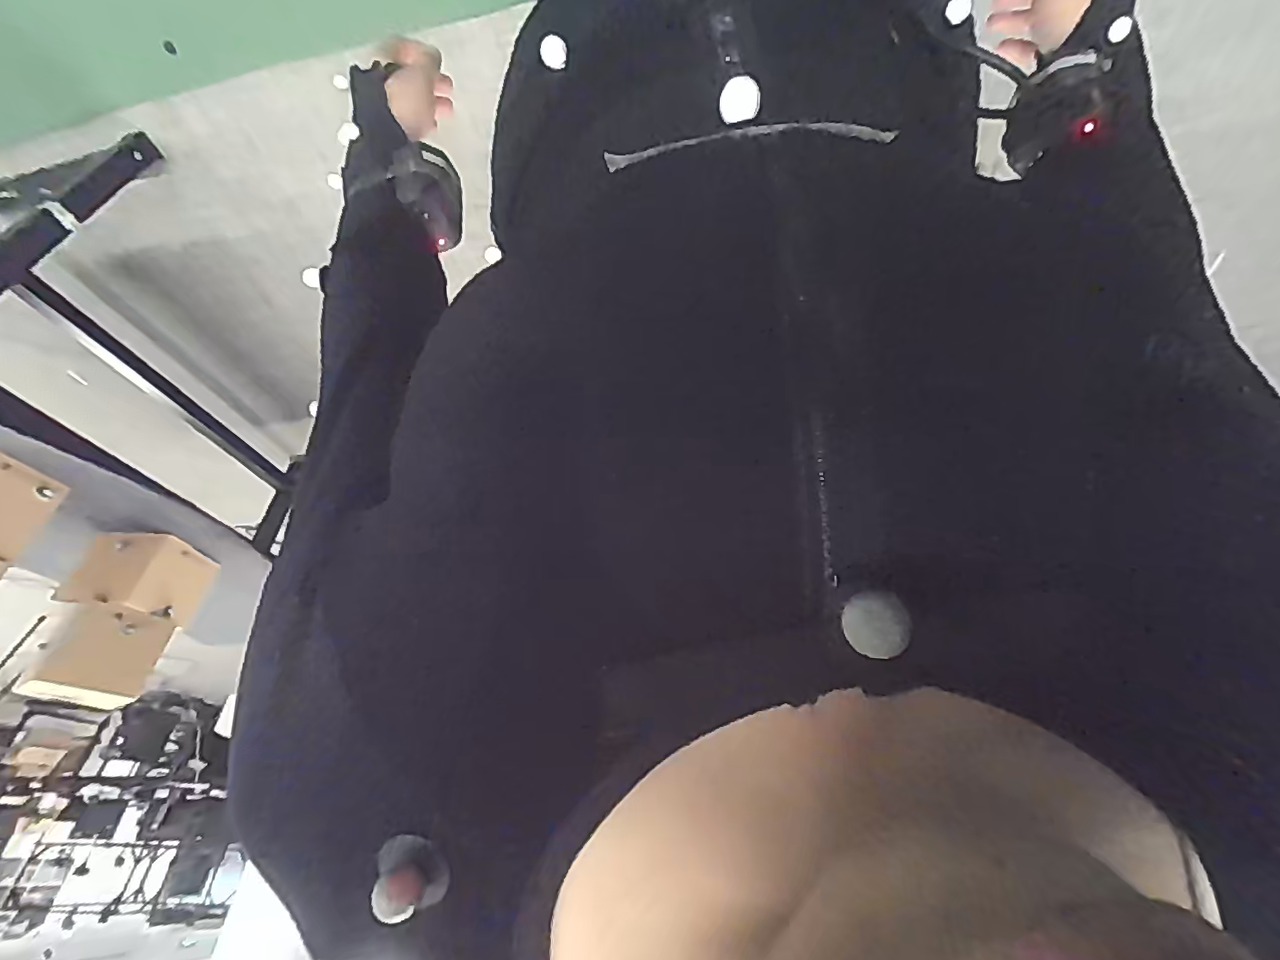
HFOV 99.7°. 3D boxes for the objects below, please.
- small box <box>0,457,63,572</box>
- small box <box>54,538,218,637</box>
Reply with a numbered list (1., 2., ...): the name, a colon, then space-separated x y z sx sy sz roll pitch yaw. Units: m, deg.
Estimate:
1. small box: -1.205 0.056 0.960 0.179 0.176 0.168 -4 145 12
2. small box: -1.117 0.240 1.218 0.179 0.176 0.168 0 145 5
